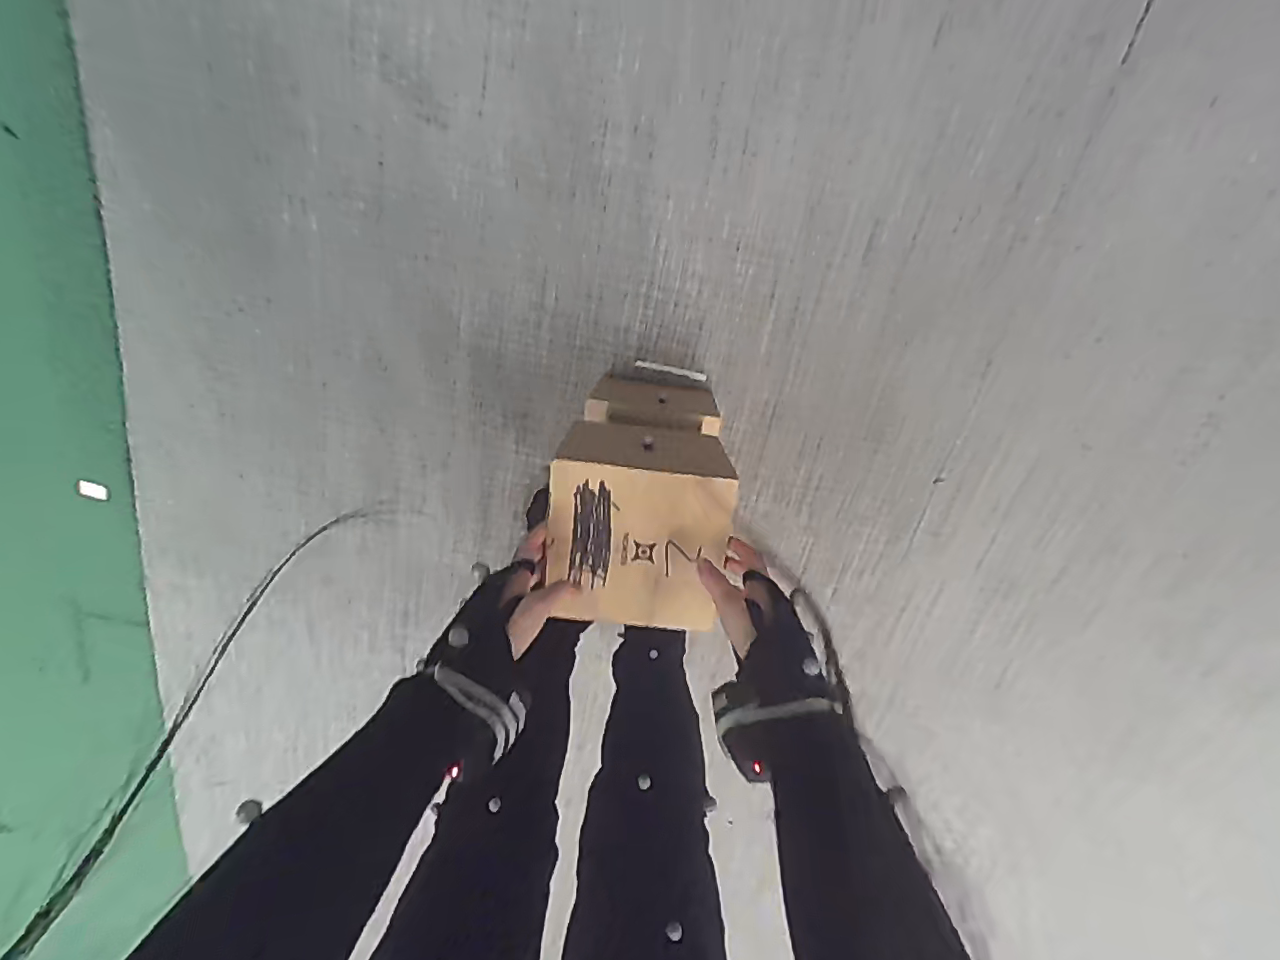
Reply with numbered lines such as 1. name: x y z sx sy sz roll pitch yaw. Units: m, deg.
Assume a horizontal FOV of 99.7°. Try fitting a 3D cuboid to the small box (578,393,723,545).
1. small box: 0.015 -0.024 0.785 0.179 0.176 0.168 8 110 1
